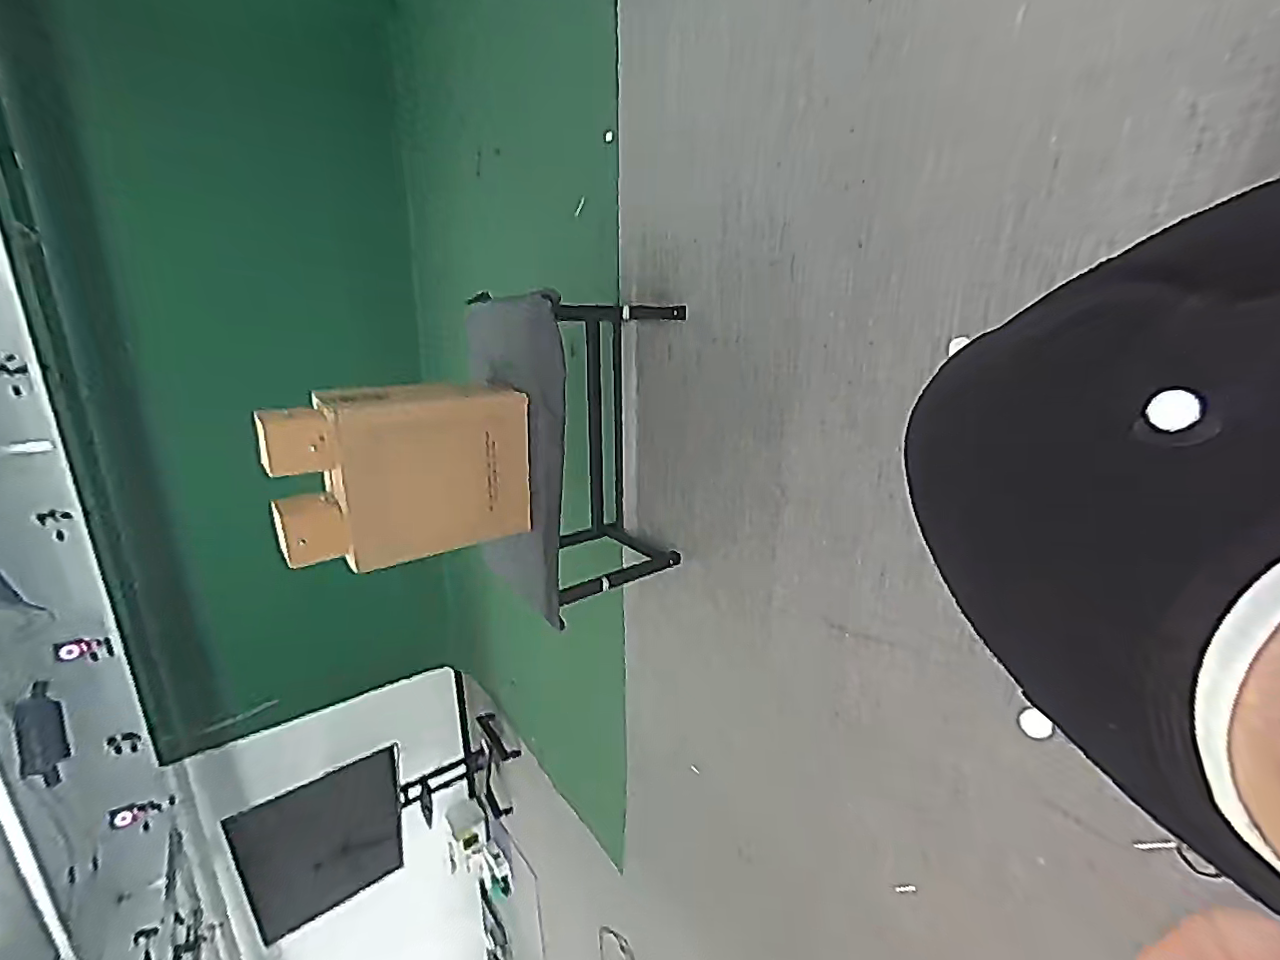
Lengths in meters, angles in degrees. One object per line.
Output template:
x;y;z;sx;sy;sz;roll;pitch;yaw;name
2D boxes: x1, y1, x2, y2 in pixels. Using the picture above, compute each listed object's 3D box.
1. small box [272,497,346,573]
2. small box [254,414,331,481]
-1.062;0.170;1.743;0.168;0.176;0.179;22;116;45;small box
-1.064;-0.106;1.660;0.179;0.176;0.168;23;116;45;small box
